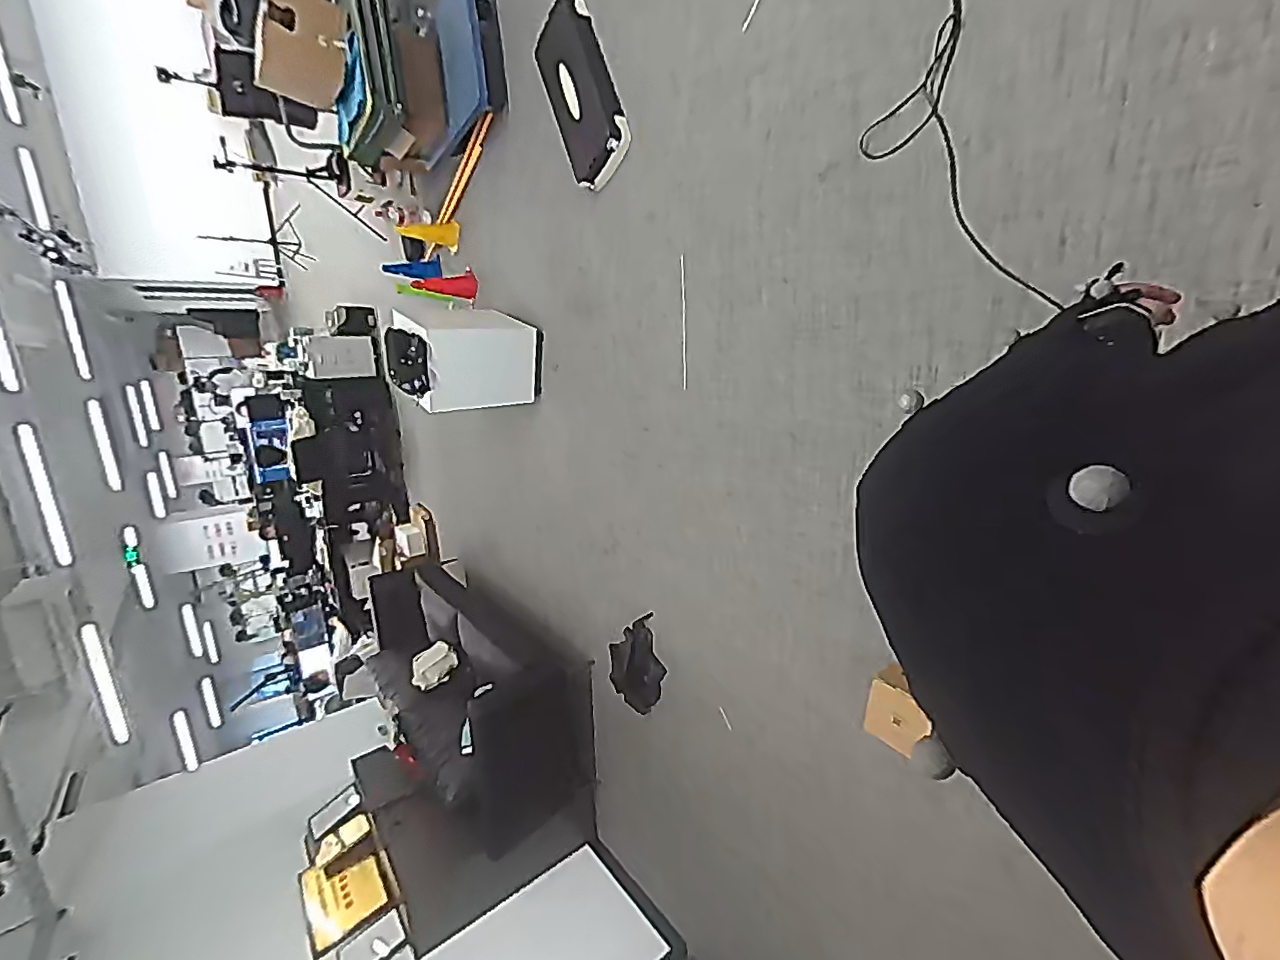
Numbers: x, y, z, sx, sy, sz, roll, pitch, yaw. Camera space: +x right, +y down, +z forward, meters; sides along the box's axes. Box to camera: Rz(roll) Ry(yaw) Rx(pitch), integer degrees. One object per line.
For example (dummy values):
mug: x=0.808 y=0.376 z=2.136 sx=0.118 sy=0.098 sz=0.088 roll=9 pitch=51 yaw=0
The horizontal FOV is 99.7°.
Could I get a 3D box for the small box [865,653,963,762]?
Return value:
small box: x=0.730 y=0.593 z=1.438 sx=0.168 sy=0.176 sz=0.179 roll=23 pitch=119 yaw=49
